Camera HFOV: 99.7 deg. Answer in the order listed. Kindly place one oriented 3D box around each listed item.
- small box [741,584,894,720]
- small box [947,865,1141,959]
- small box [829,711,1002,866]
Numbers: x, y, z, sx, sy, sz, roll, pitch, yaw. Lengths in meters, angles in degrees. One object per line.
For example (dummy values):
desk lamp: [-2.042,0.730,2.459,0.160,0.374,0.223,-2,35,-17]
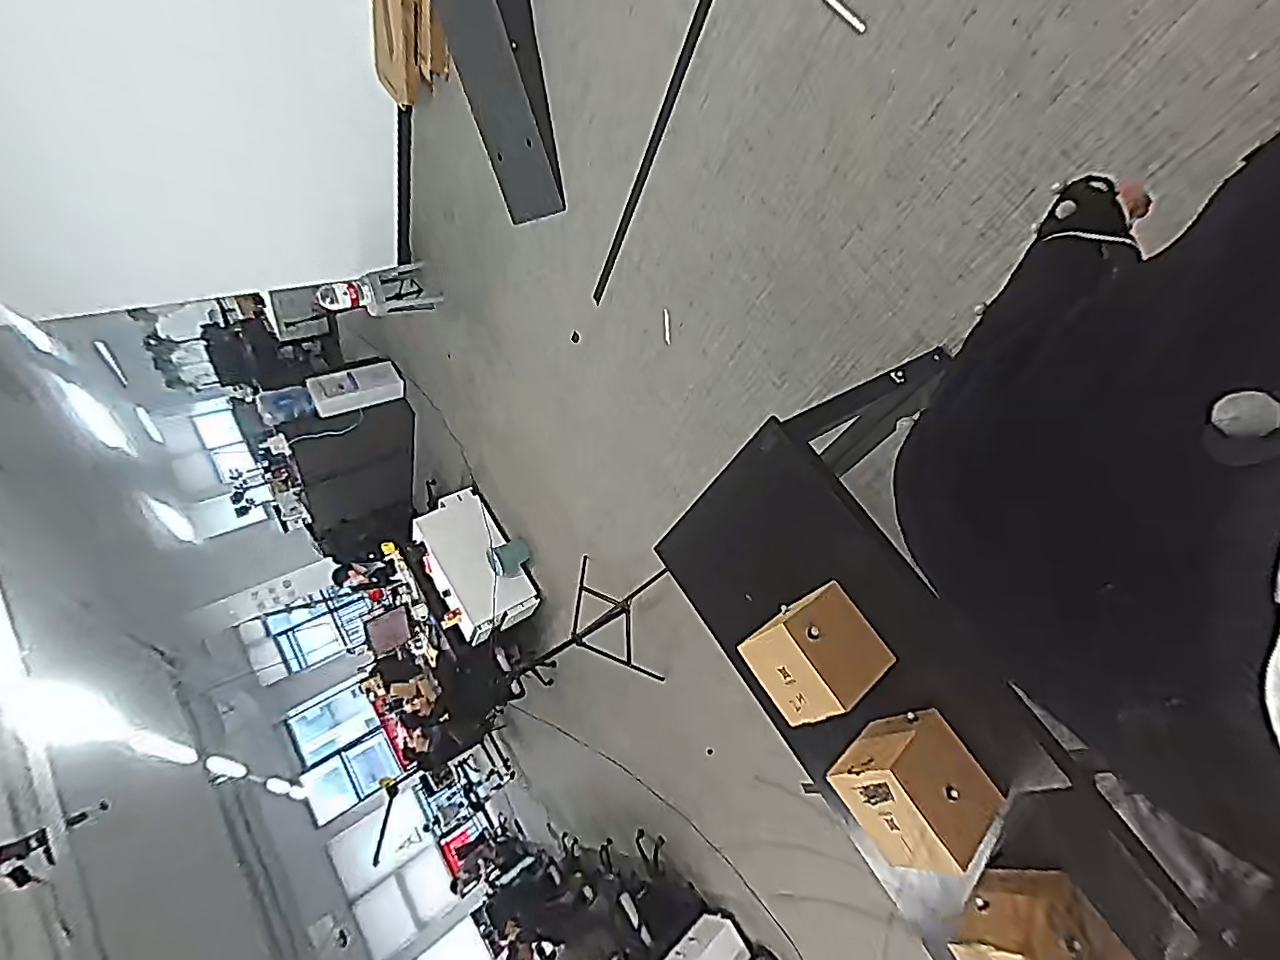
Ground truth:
small box: [0.332,0.318,1.023,0.179,0.176,0.168,55,147,17]
small box: [0.649,0.758,0.866,0.179,0.176,0.168,53,146,17]
small box: [0.482,0.531,0.952,0.179,0.176,0.168,55,146,14]
